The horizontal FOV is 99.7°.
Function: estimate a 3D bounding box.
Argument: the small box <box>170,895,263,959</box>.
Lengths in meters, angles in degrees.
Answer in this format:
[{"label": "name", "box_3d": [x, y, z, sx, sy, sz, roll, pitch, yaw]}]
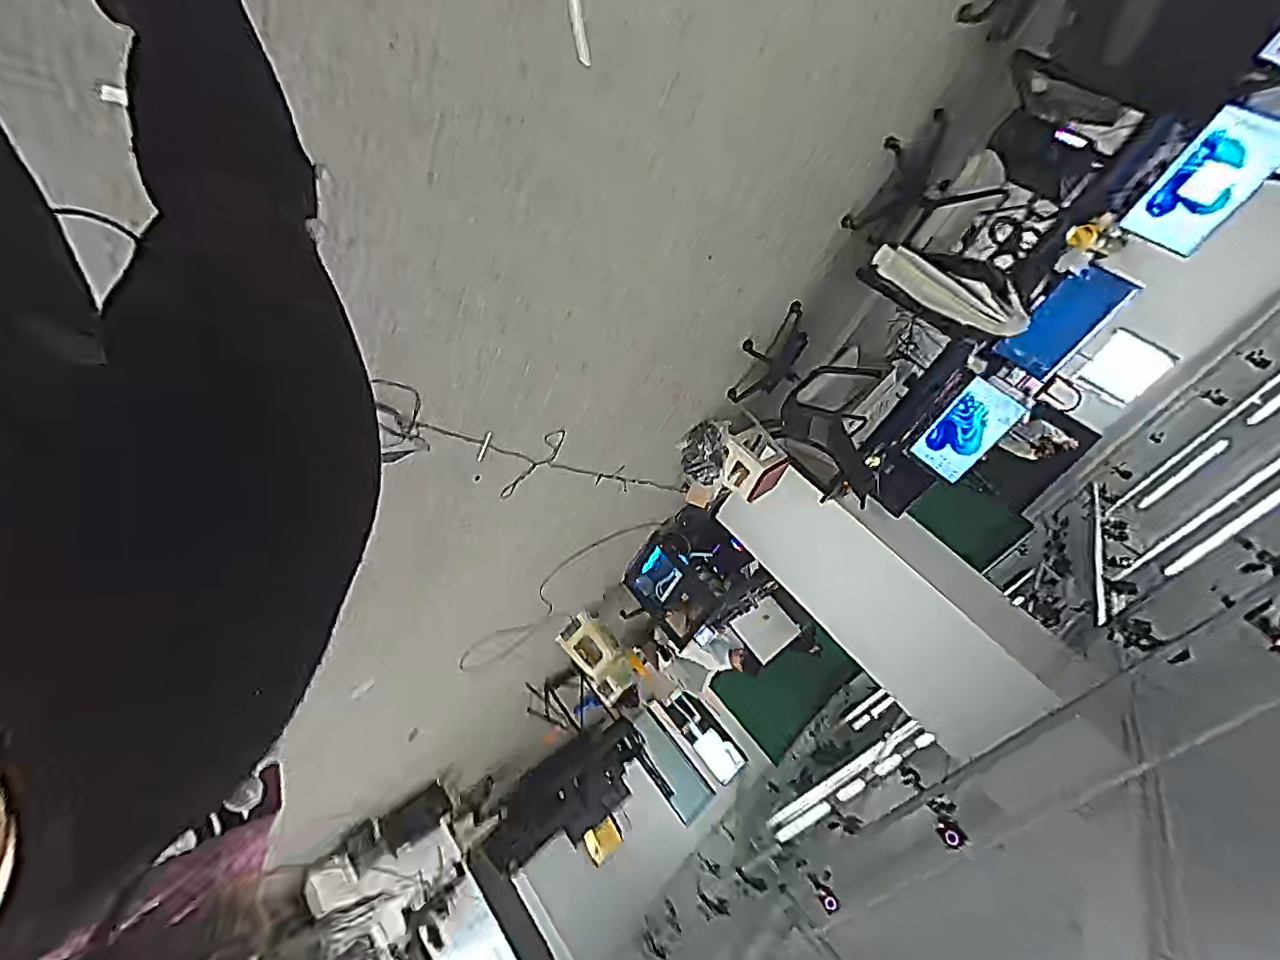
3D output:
[{"label": "small box", "box_3d": [-1.229, 1.358, 1.564, 0.168, 0.176, 0.179, -9, 138, -53]}]
